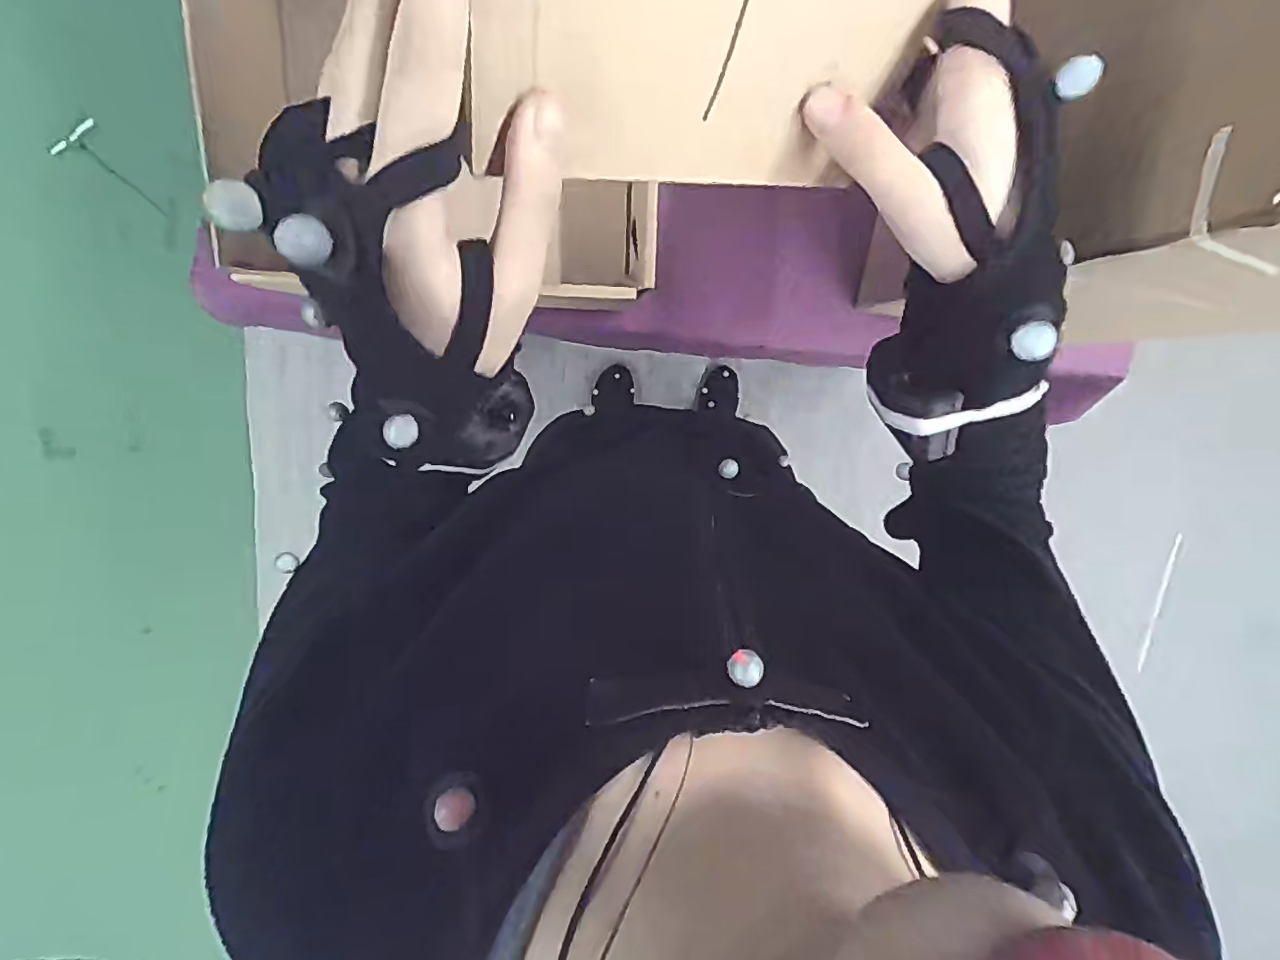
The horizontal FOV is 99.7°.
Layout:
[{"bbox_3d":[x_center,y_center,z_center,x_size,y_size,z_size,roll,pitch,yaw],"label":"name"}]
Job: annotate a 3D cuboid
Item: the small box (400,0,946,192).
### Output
[{"bbox_3d":[0.004,-0.225,0.178,0.168,0.176,0.179,-13,148,-25],"label":"small box"}]
